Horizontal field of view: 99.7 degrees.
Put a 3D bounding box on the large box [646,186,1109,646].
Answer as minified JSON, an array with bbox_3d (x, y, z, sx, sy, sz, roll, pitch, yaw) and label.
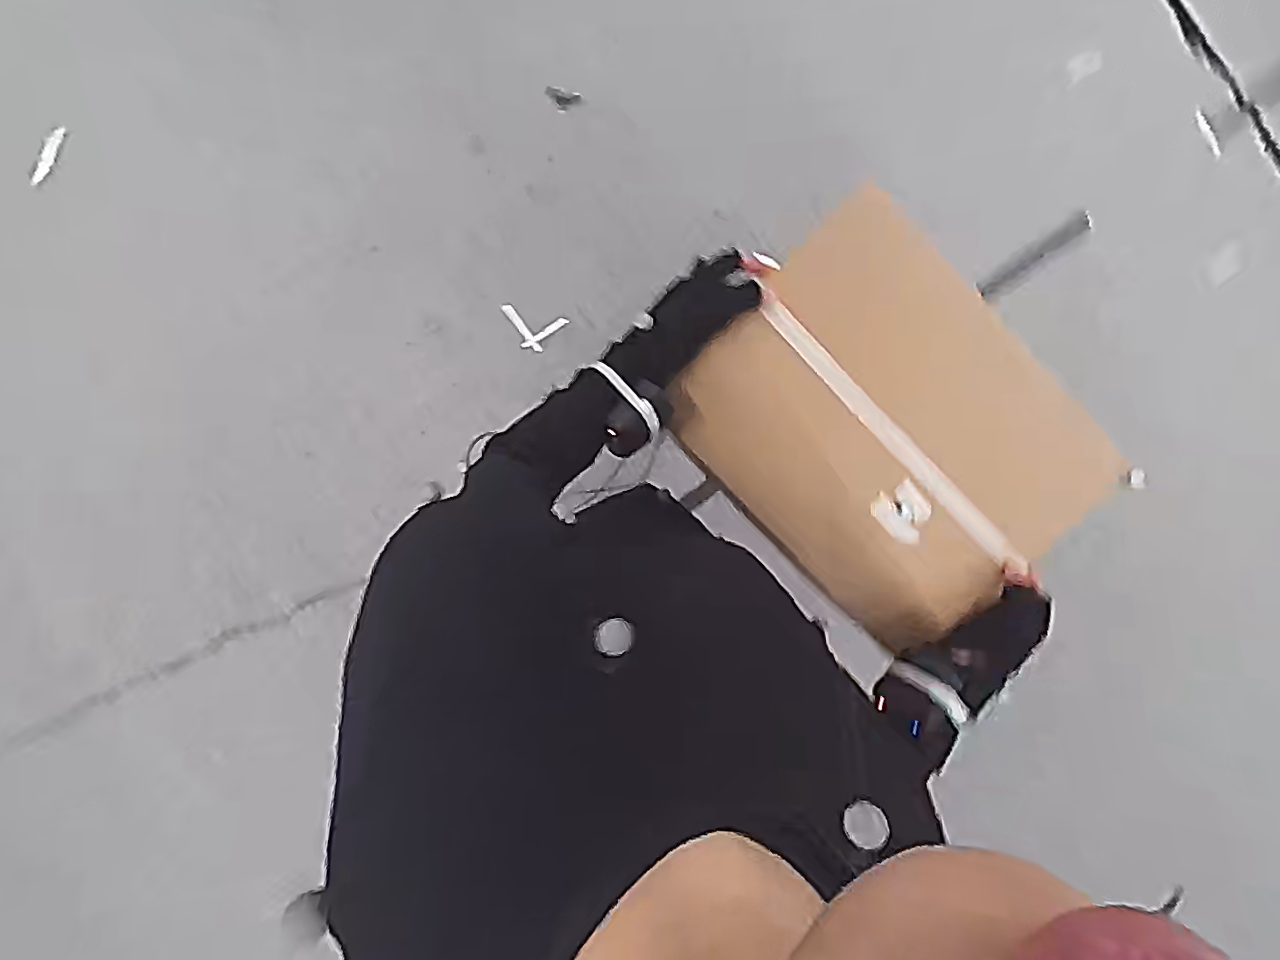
[{"bbox_3d":[0.253,-0.074,0.717,0.320,0.320,0.408,-44,95,6],"label":"large box"}]
